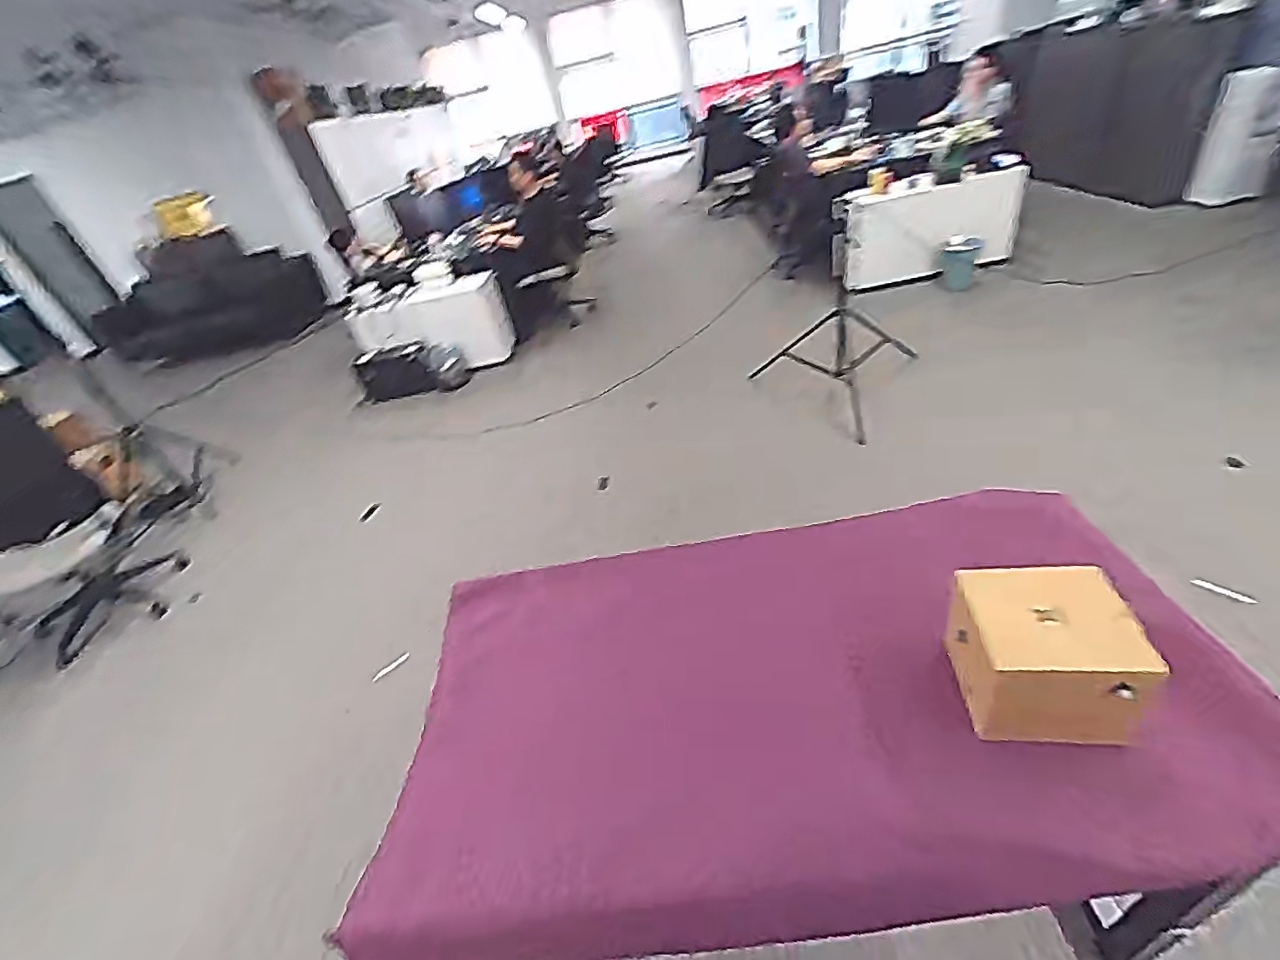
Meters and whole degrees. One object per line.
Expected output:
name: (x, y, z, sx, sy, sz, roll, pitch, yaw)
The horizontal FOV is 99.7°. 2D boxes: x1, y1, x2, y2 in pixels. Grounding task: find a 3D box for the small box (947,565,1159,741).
small box: (0.538, 0.237, 0.741, 0.179, 0.176, 0.168, -5, 37, 14)
